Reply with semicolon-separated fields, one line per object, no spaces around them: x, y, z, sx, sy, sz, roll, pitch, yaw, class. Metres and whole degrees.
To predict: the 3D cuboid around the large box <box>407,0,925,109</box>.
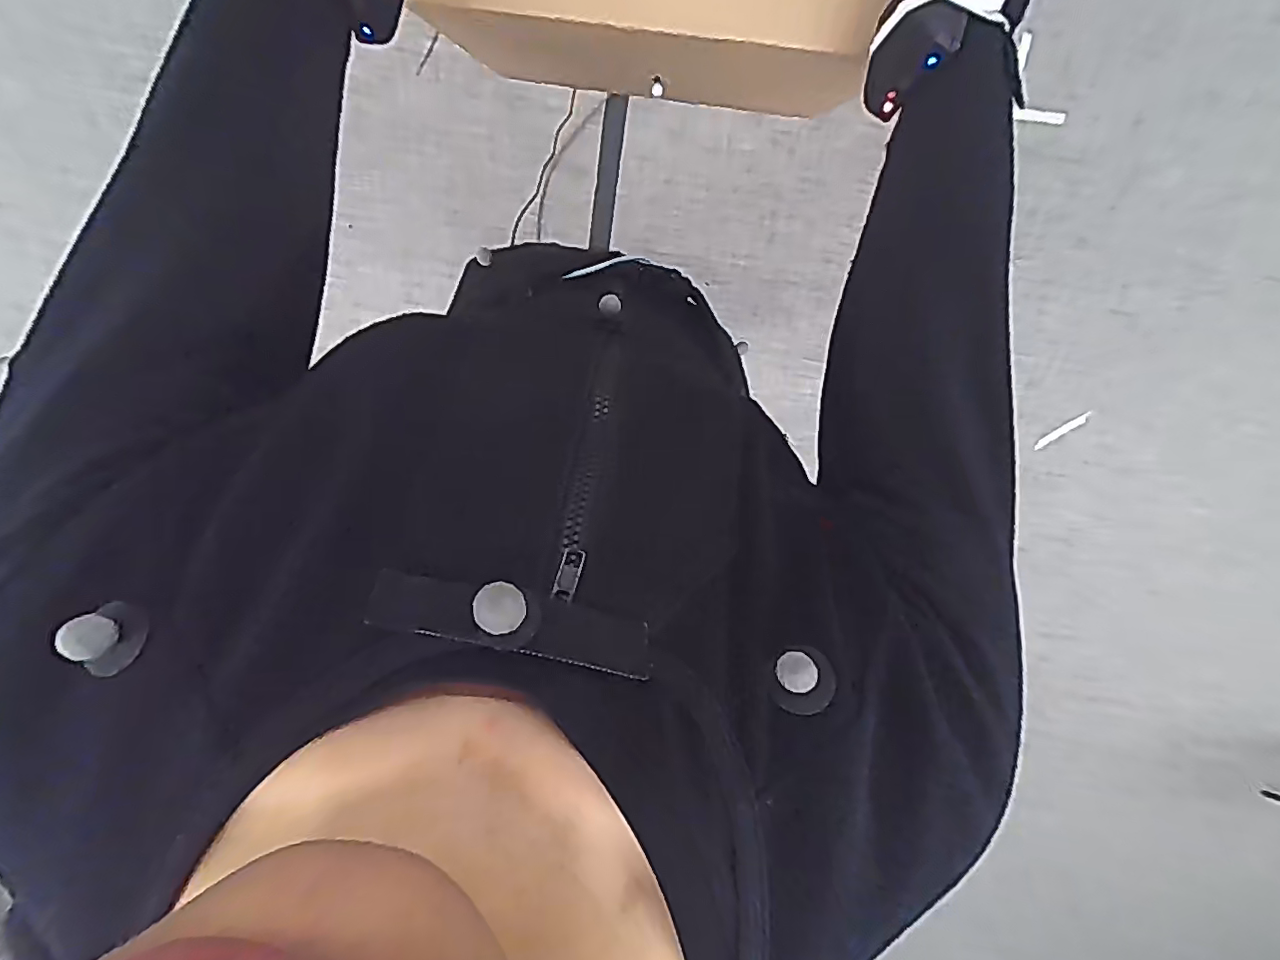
0.038;-0.550;0.477;0.408;0.320;0.320;8;116;0;large box
